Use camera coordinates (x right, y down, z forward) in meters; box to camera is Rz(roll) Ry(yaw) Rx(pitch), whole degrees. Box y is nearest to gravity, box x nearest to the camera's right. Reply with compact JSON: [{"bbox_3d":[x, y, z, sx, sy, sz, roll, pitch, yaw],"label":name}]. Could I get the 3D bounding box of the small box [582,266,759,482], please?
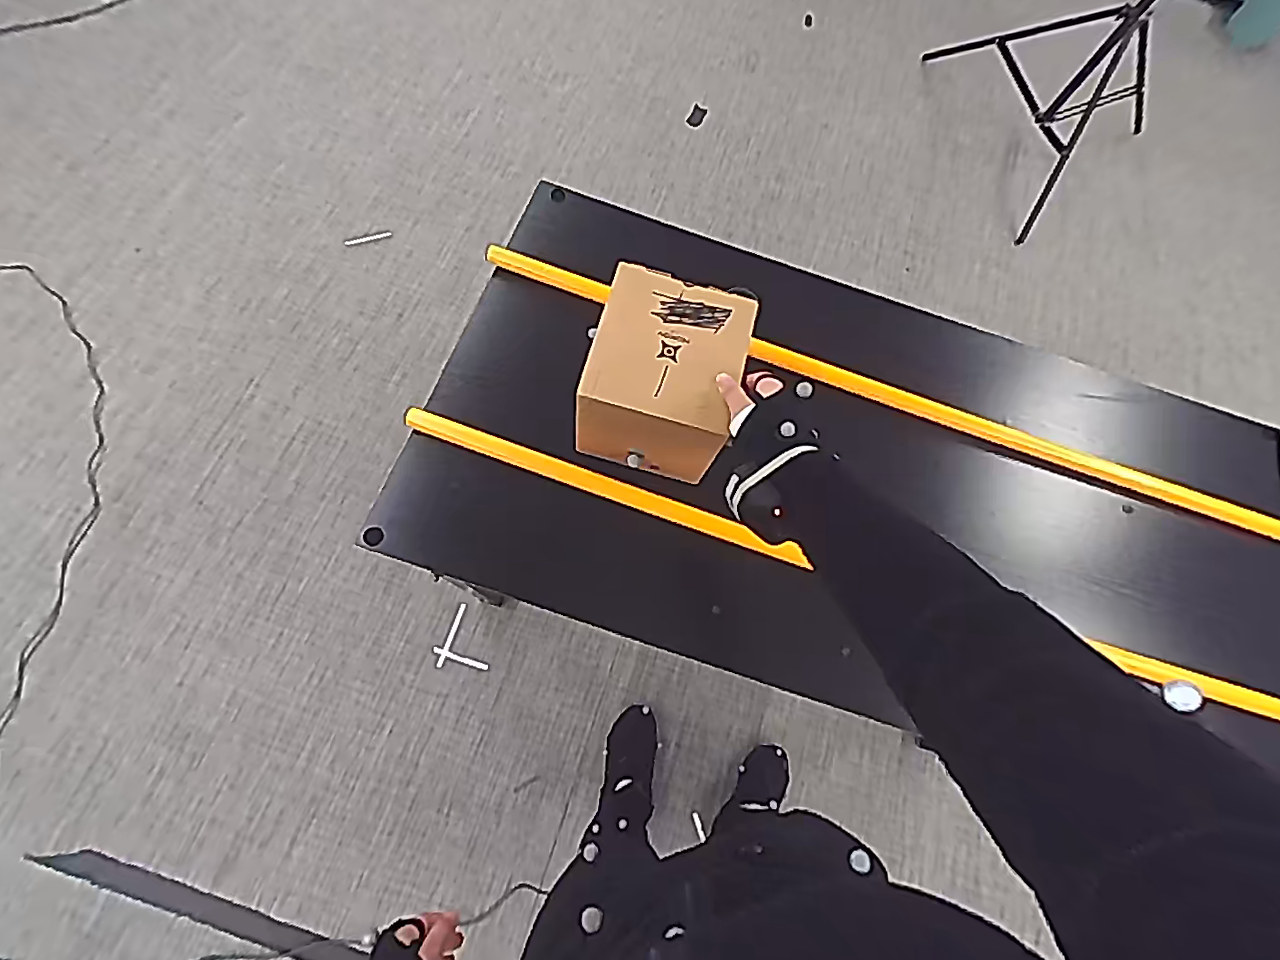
[{"bbox_3d":[0.028,-0.118,0.661,0.168,0.176,0.179,16,71,-1],"label":"small box"}]
